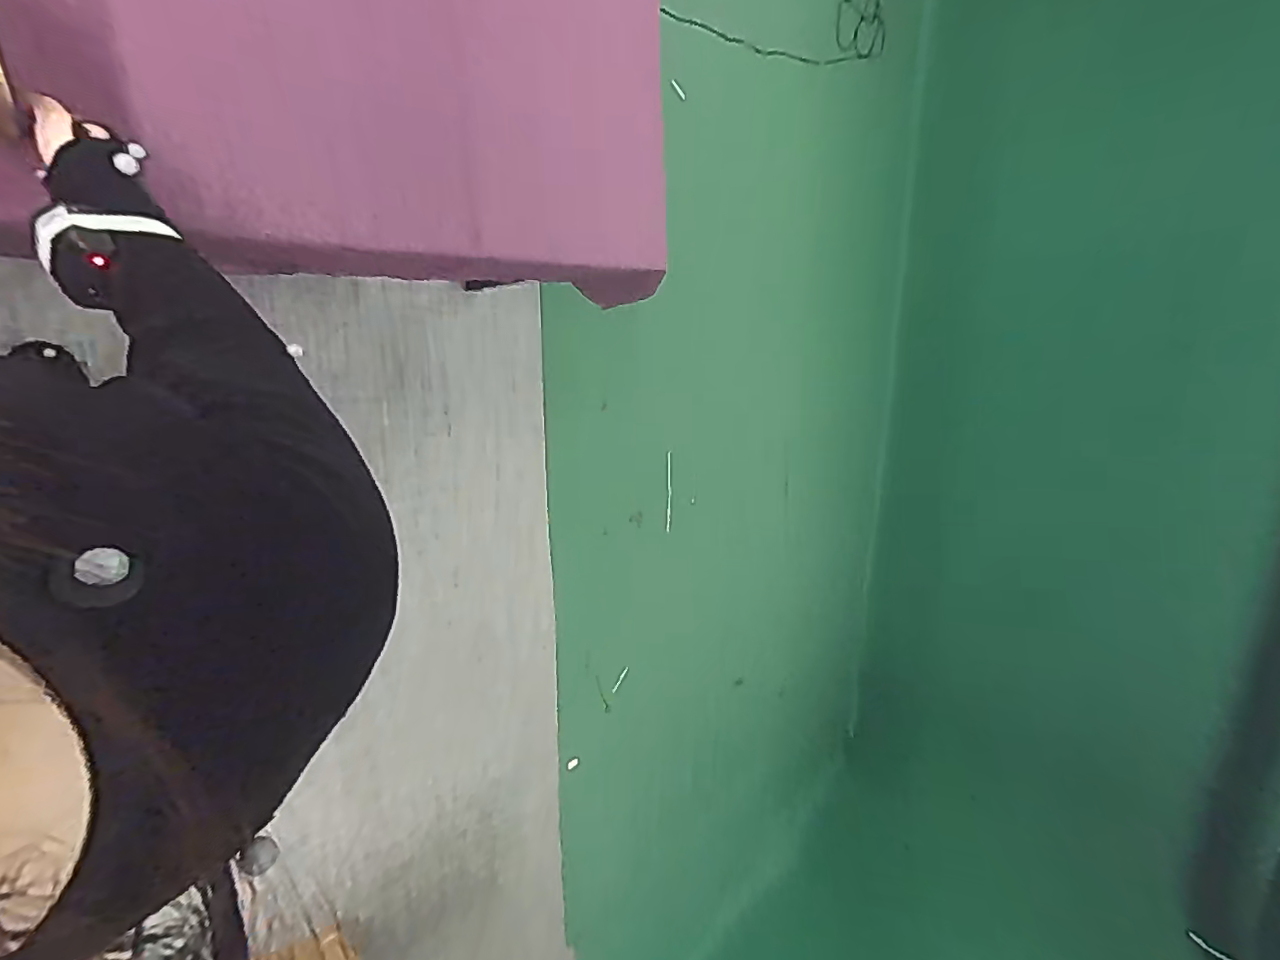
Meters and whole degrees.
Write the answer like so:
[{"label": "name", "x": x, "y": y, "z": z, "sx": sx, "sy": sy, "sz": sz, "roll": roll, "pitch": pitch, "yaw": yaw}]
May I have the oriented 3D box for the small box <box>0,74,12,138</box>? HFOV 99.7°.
[{"label": "small box", "x": -0.581, "y": -0.362, "z": 0.370, "sx": 0.168, "sy": 0.176, "sz": 0.179, "roll": -20, "pitch": 112, "yaw": -44}]
